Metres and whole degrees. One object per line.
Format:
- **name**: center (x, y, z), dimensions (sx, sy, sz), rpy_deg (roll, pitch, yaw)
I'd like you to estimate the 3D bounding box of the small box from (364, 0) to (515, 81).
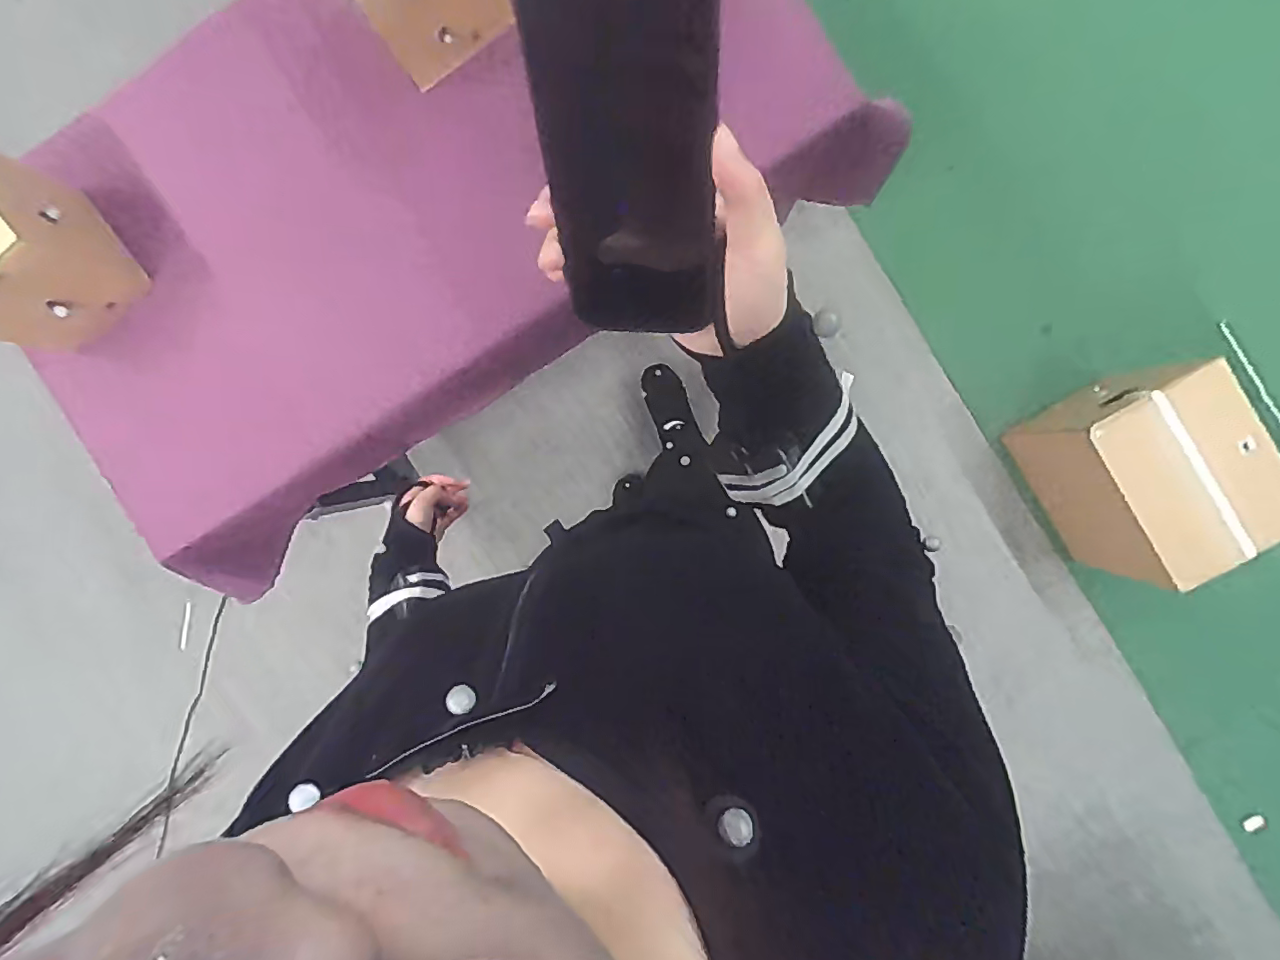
- **small box**: center (-0.283, -0.656, 0.665), dimensions (0.168, 0.176, 0.179), rpy_deg (-34, 92, 5)
